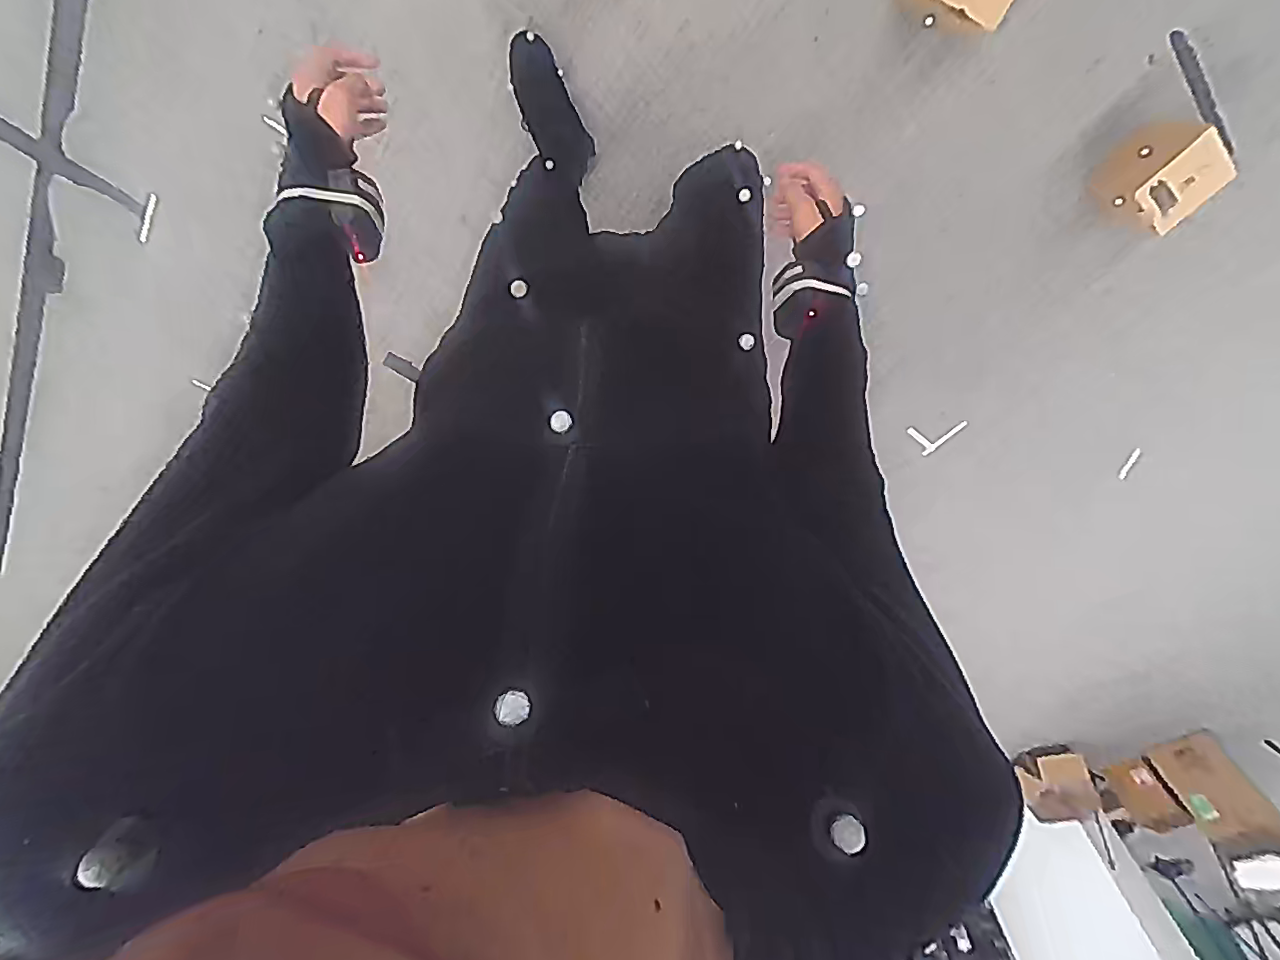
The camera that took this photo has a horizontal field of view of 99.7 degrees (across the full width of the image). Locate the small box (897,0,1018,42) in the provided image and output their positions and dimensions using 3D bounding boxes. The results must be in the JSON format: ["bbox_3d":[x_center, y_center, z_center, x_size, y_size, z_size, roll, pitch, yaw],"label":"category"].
[{"bbox_3d":[0.645,-0.999,1.059,0.168,0.176,0.179,14,126,-15],"label":"small box"}]
